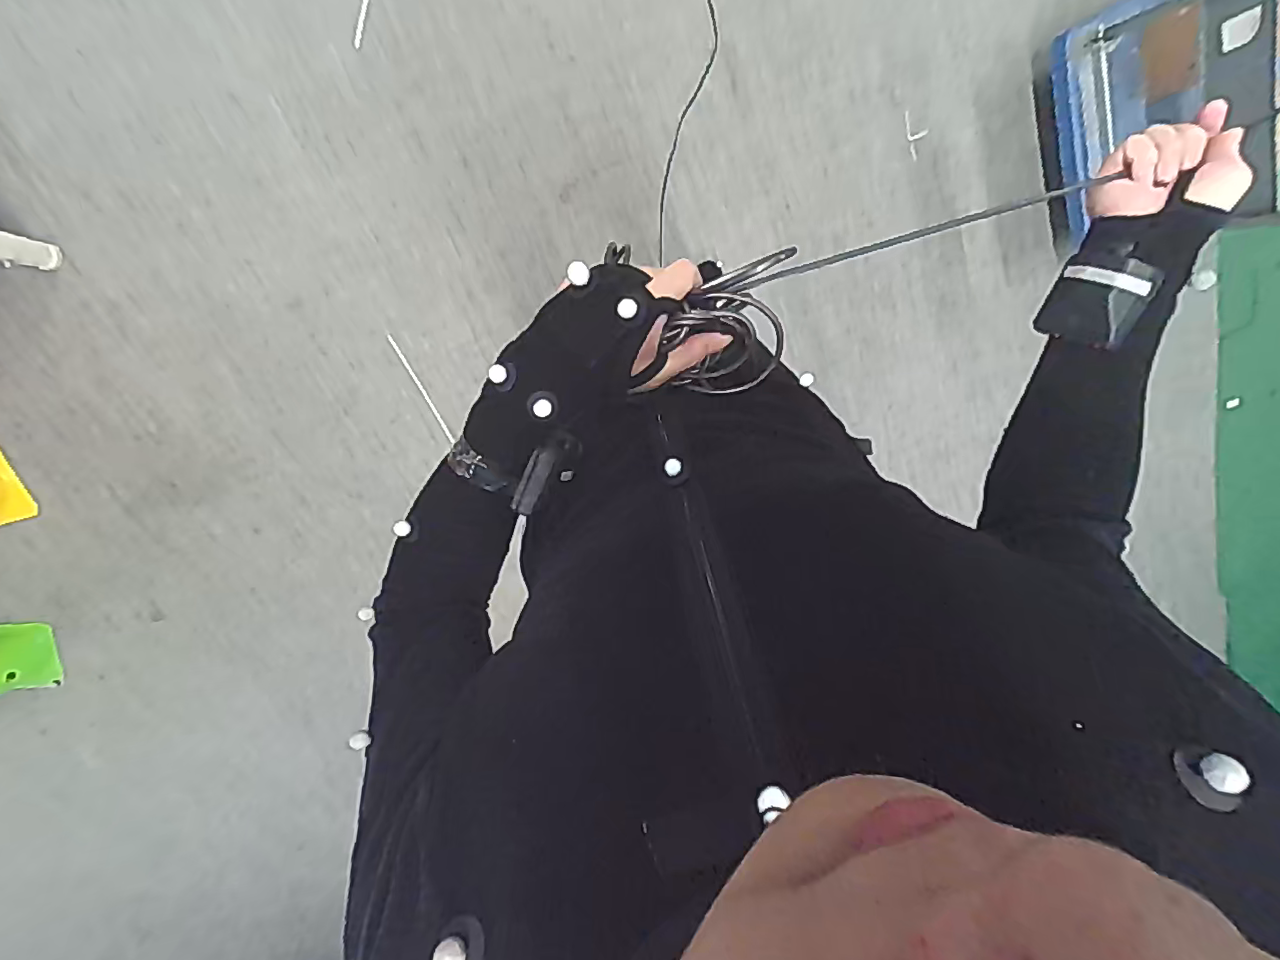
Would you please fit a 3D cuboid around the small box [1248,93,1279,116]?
[{"bbox_3d":[1.756,-0.947,1.408,0.179,0.176,0.168,-29,109,0],"label":"small box"}]

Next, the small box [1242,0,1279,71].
[{"bbox_3d":[1.639,-1.152,1.323,0.179,0.176,0.168,-29,111,-1],"label":"small box"}]

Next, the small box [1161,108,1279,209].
[{"bbox_3d":[1.514,-0.829,1.401,0.179,0.176,0.168,-25,110,-1],"label":"small box"}]
